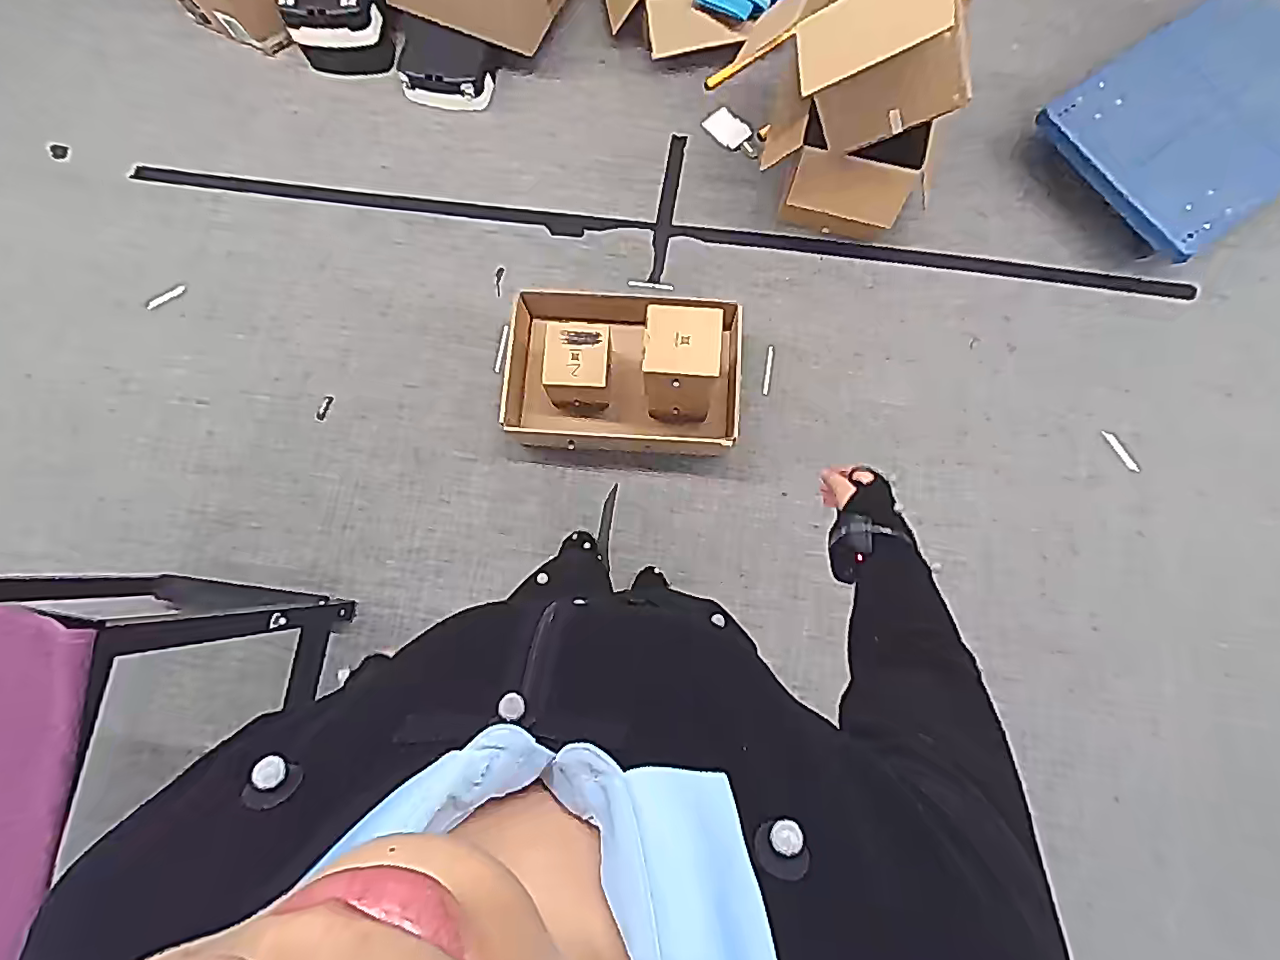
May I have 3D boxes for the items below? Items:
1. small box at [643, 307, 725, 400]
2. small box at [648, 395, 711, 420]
[{"bbox_3d":[0.103,-0.299,1.305,0.179,0.176,0.168,4,80,4],"label":"small box"},{"bbox_3d":[0.112,-0.272,1.465,0.168,0.176,0.179,5,79,2],"label":"small box"}]
